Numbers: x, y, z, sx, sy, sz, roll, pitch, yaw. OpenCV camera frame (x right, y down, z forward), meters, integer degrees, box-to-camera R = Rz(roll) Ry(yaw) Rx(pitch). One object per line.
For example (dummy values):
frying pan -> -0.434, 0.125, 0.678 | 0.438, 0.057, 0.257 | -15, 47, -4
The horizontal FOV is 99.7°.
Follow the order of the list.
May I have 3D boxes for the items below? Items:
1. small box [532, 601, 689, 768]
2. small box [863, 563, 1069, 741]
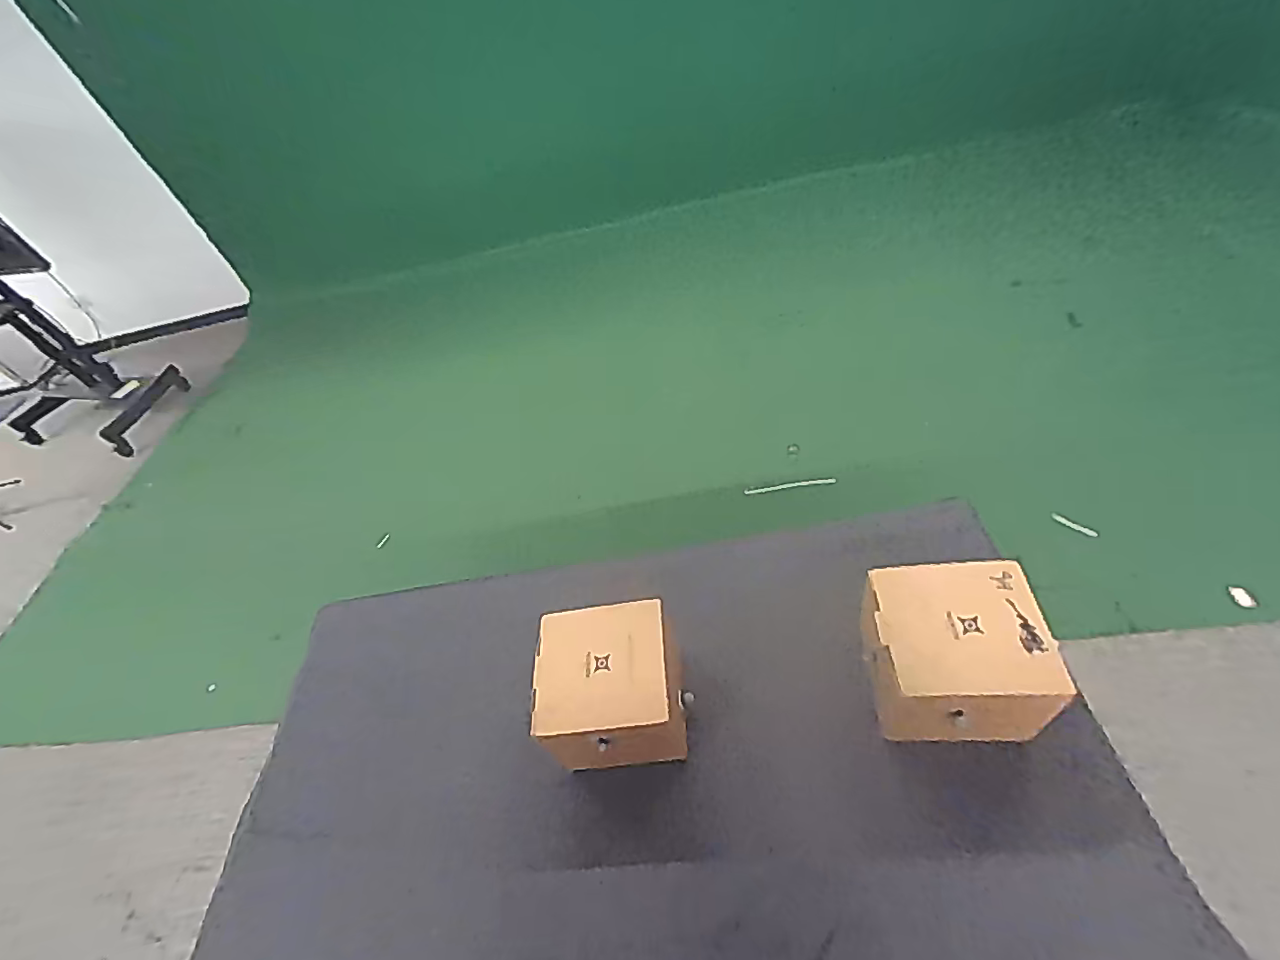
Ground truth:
small box -> -0.035, 0.293, 0.762 | 0.179, 0.176, 0.168 | -10, 49, 7
small box -> 0.390, 0.224, 0.690 | 0.179, 0.176, 0.168 | -6, 49, 13
